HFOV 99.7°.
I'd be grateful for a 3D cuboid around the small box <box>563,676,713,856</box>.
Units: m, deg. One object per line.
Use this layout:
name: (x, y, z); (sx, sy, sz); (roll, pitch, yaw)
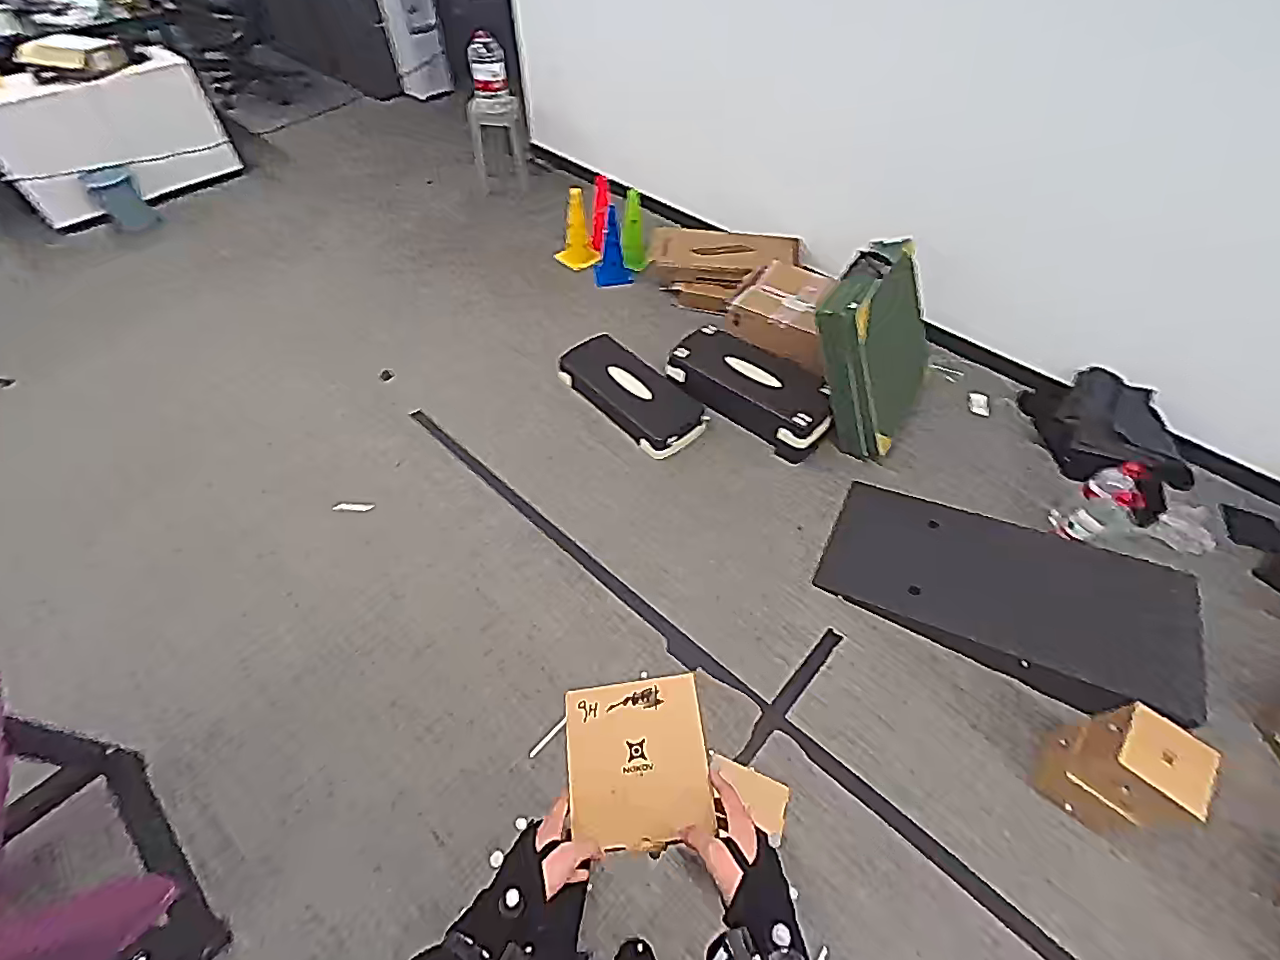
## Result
small box: (0.001, 0.368, 0.704); (0.168, 0.176, 0.179); (-9, 60, 2)
